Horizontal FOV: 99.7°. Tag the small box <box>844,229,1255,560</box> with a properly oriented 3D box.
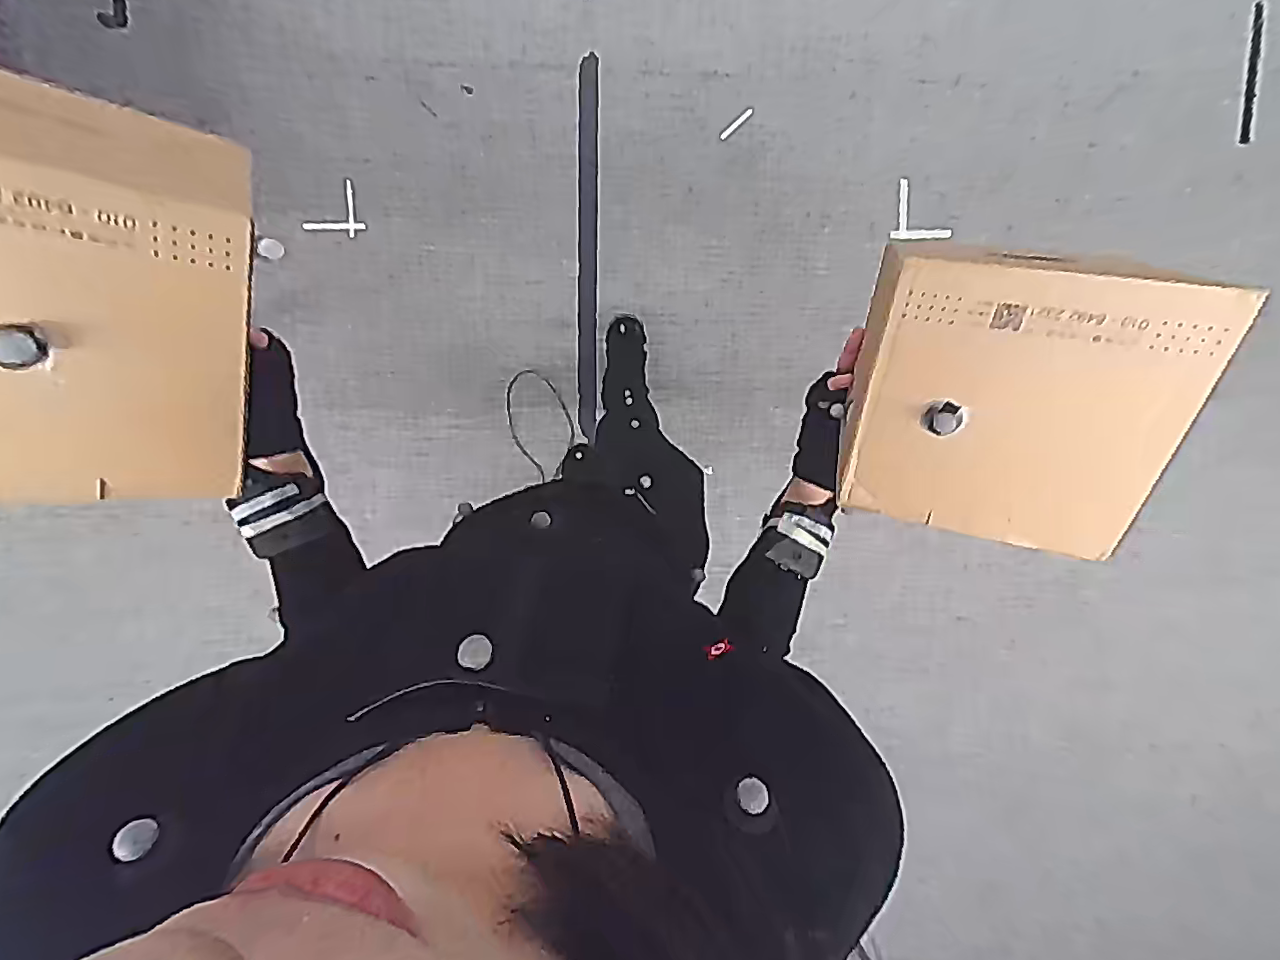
[{"bbox_3d":[0.248,-0.076,0.378,0.168,0.179,0.176,14,121,15],"label":"small box"}]

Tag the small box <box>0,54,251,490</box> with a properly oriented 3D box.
[{"bbox_3d":[-0.310,-0.112,0.281,0.168,0.179,0.176,3,123,-37],"label":"small box"}]
